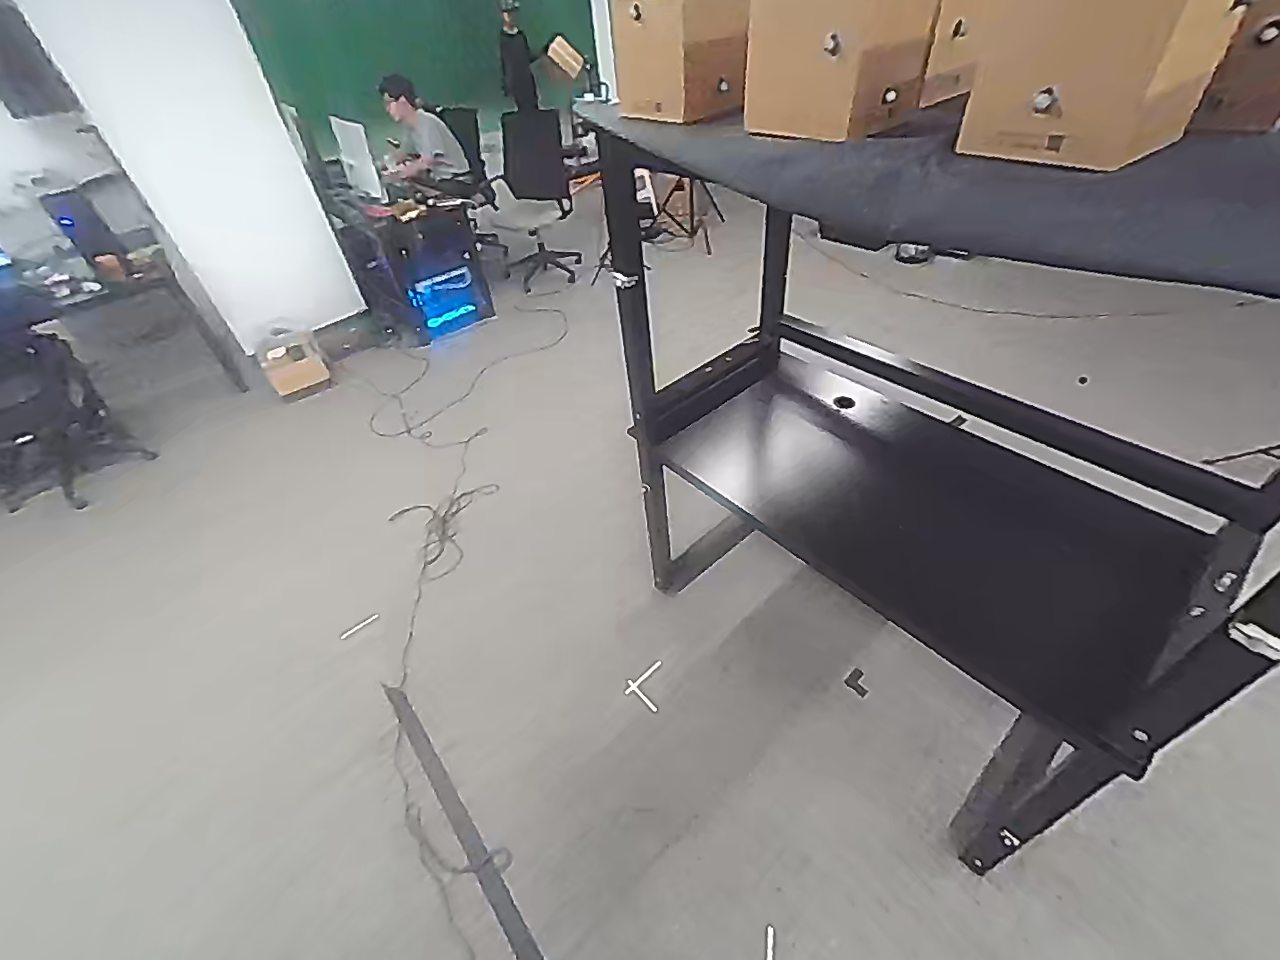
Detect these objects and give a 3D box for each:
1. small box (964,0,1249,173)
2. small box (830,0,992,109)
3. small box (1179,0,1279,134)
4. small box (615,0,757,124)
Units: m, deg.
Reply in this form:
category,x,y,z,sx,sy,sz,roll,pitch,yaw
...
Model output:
category,x,y,z,sx,sy,sz,roll,pitch,yaw
small box,0.480,-0.442,0.566,0.179,0.176,0.168,-29,47,-24
small box,0.432,-0.708,0.860,0.168,0.176,0.179,-32,48,-24
small box,0.688,-0.515,0.619,0.179,0.176,0.168,-35,51,-26
small box,0.075,-0.728,0.922,0.179,0.176,0.168,-35,50,-27
